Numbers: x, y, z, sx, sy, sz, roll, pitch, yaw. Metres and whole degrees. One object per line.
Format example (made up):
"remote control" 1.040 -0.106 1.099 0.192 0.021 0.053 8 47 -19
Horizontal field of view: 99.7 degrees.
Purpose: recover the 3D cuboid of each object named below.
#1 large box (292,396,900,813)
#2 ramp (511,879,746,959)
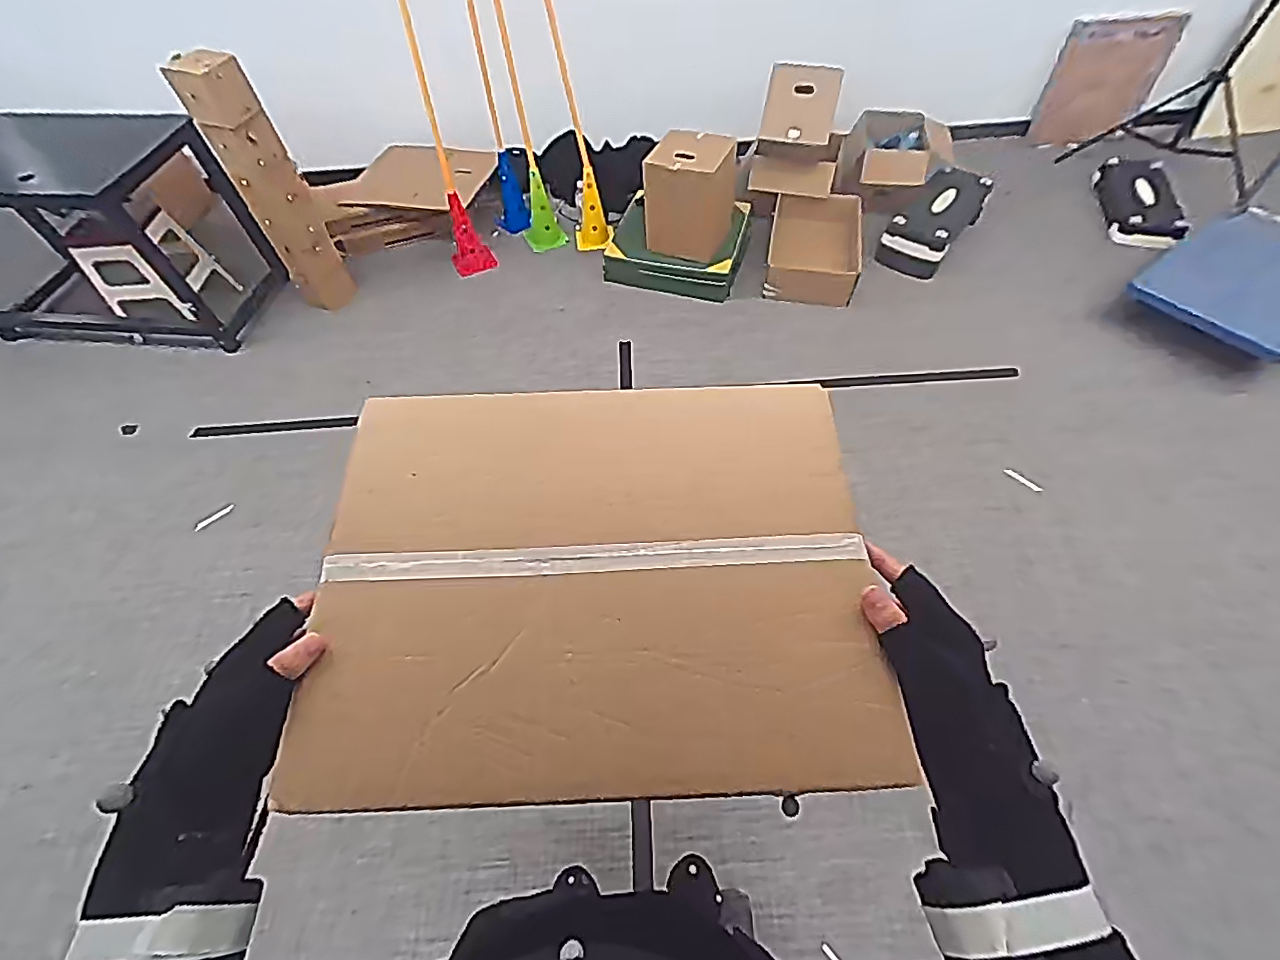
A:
"large box" -0.031 0.135 0.548 0.408 0.320 0.320 -1 62 -1
"ramp" -0.002 1.338 0.971 0.509 0.206 0.991 -4 57 -3
